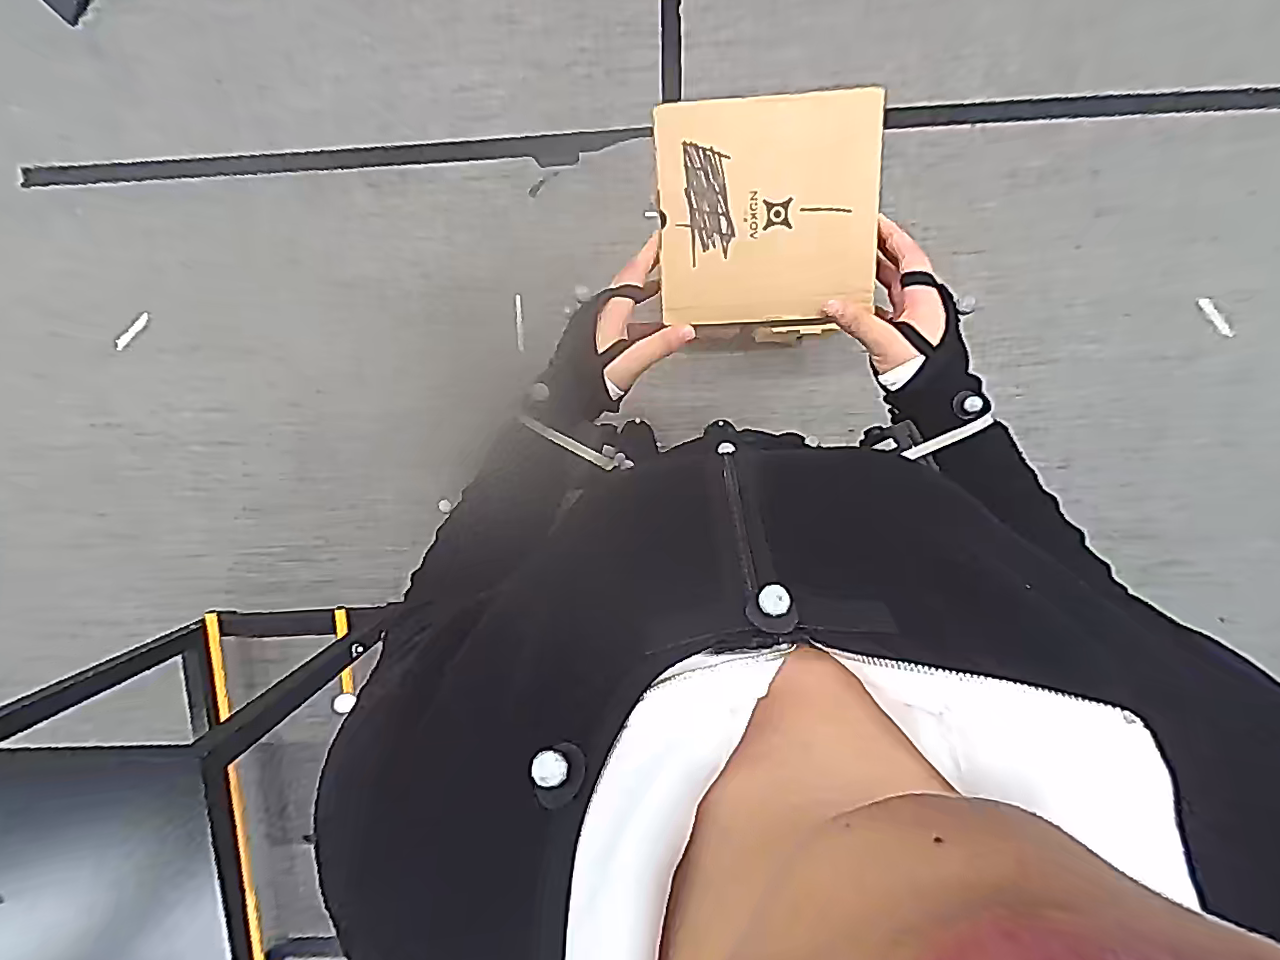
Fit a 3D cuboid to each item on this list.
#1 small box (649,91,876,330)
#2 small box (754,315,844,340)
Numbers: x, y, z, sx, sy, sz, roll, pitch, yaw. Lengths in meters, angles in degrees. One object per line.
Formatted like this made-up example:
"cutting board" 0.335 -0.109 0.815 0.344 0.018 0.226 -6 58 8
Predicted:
"small box" 0.104 -0.233 0.514 0.179 0.176 0.168 -1 103 5
"small box" 0.348 -0.407 1.202 0.168 0.176 0.179 -1 98 2
